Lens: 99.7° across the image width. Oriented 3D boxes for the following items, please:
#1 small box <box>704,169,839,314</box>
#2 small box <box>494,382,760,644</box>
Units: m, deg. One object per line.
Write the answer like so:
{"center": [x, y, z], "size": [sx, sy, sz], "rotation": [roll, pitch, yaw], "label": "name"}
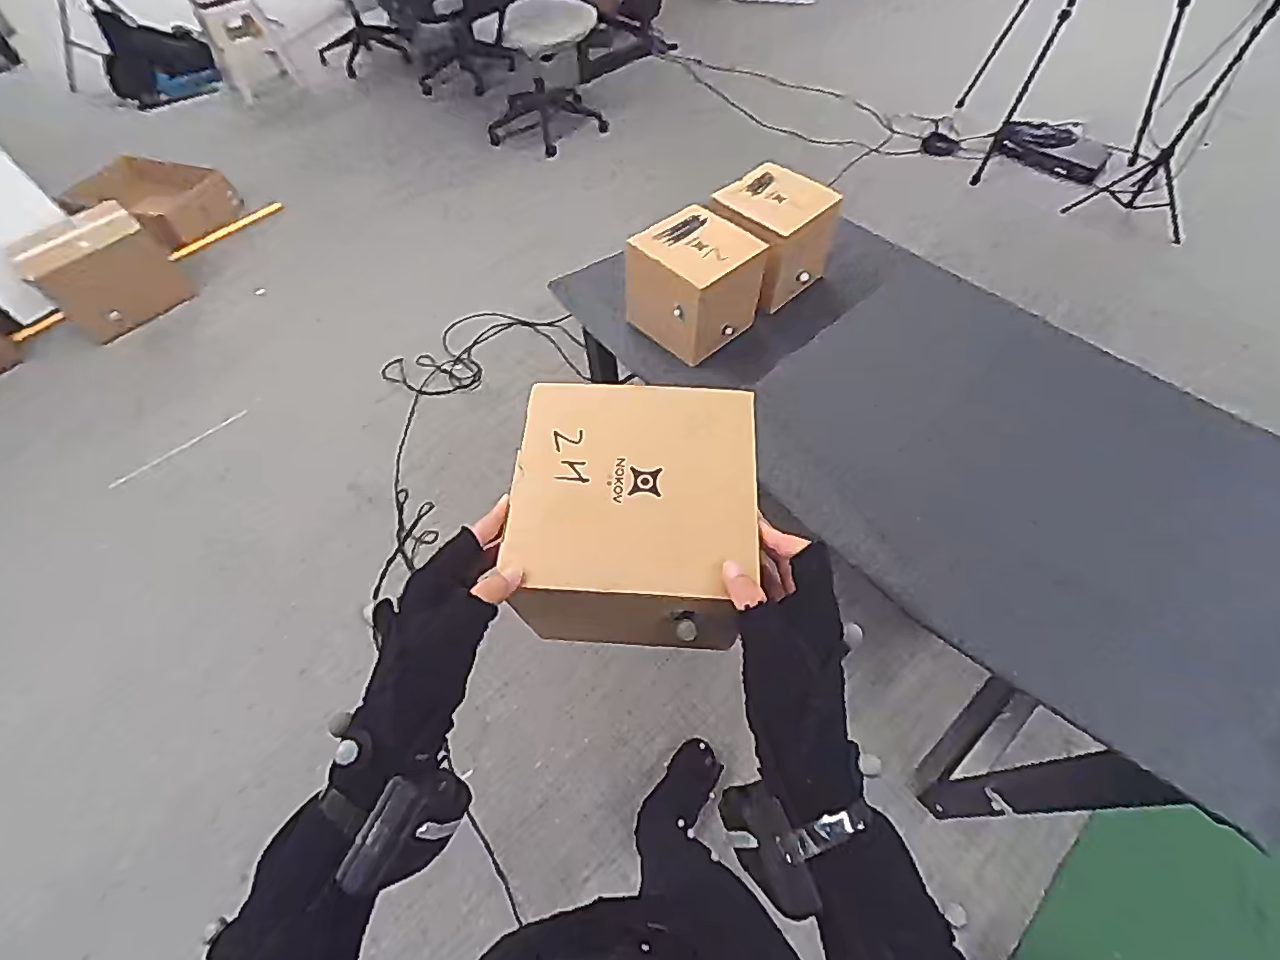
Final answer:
{"center": [0.237, -0.449, 1.027], "size": [0.168, 0.176, 0.179], "rotation": [-40, 64, -21], "label": "small box"}
{"center": [-0.001, 0.037, 0.457], "size": [0.179, 0.176, 0.168], "rotation": [3, 62, 4], "label": "small box"}
